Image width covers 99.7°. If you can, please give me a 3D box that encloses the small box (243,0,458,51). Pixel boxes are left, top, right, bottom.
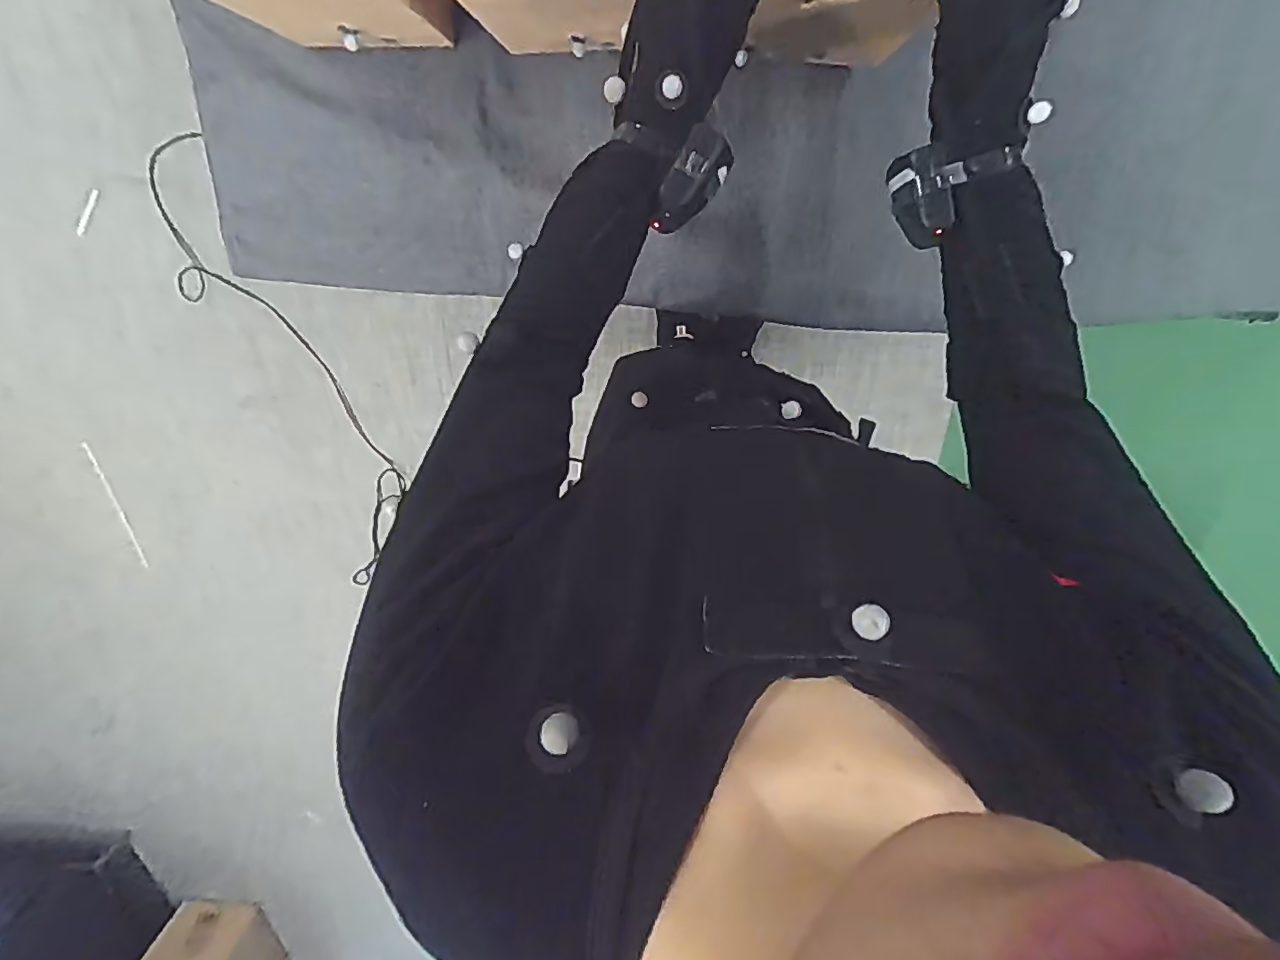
[{"bbox_3d":[-0.269,-0.496,0.454,0.168,0.176,0.179,3,115,4],"label":"small box"}]

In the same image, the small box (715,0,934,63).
[{"bbox_3d":[0.152,-0.453,0.416,0.168,0.176,0.179,6,112,2],"label":"small box"}]
